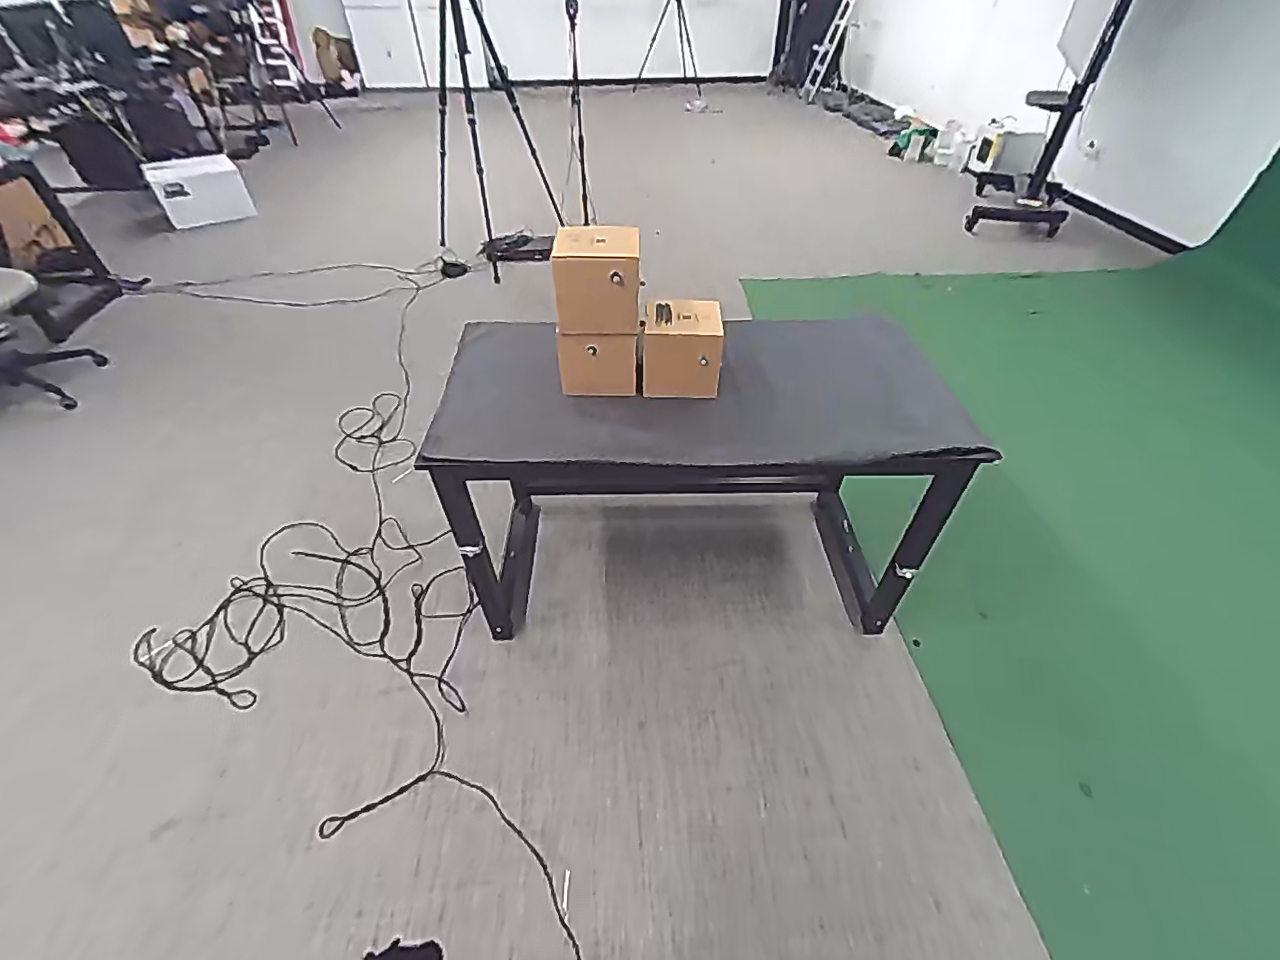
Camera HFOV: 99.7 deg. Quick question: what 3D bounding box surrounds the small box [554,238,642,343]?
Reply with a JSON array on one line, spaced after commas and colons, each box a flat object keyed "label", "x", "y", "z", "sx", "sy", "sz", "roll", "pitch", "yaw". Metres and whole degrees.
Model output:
[{"label": "small box", "x": -0.086, "y": -0.411, "z": 1.180, "sx": 0.179, "sy": 0.176, "sz": 0.168, "roll": 1, "pitch": 43, "yaw": -1}]
